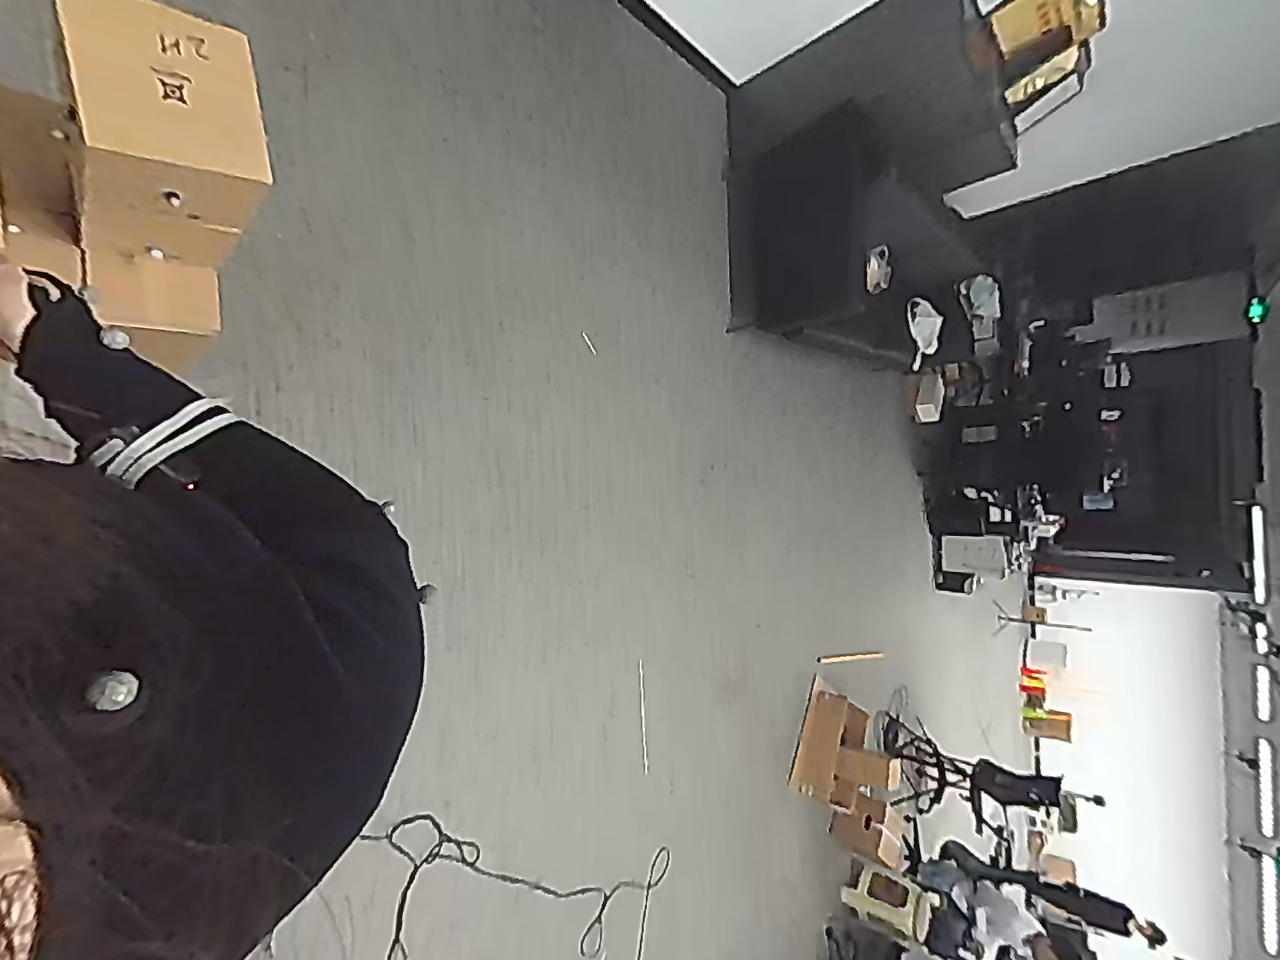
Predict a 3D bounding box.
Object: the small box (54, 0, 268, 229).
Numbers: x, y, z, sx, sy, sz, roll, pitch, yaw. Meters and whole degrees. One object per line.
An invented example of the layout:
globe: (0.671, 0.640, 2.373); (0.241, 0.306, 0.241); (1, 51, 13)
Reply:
small box: (-0.584, -0.434, 0.665); (0.168, 0.176, 0.179); (-11, 97, -46)

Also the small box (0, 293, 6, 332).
small box: (-0.565, -0.185, 0.355); (0.168, 0.176, 0.179); (-15, 108, -44)
